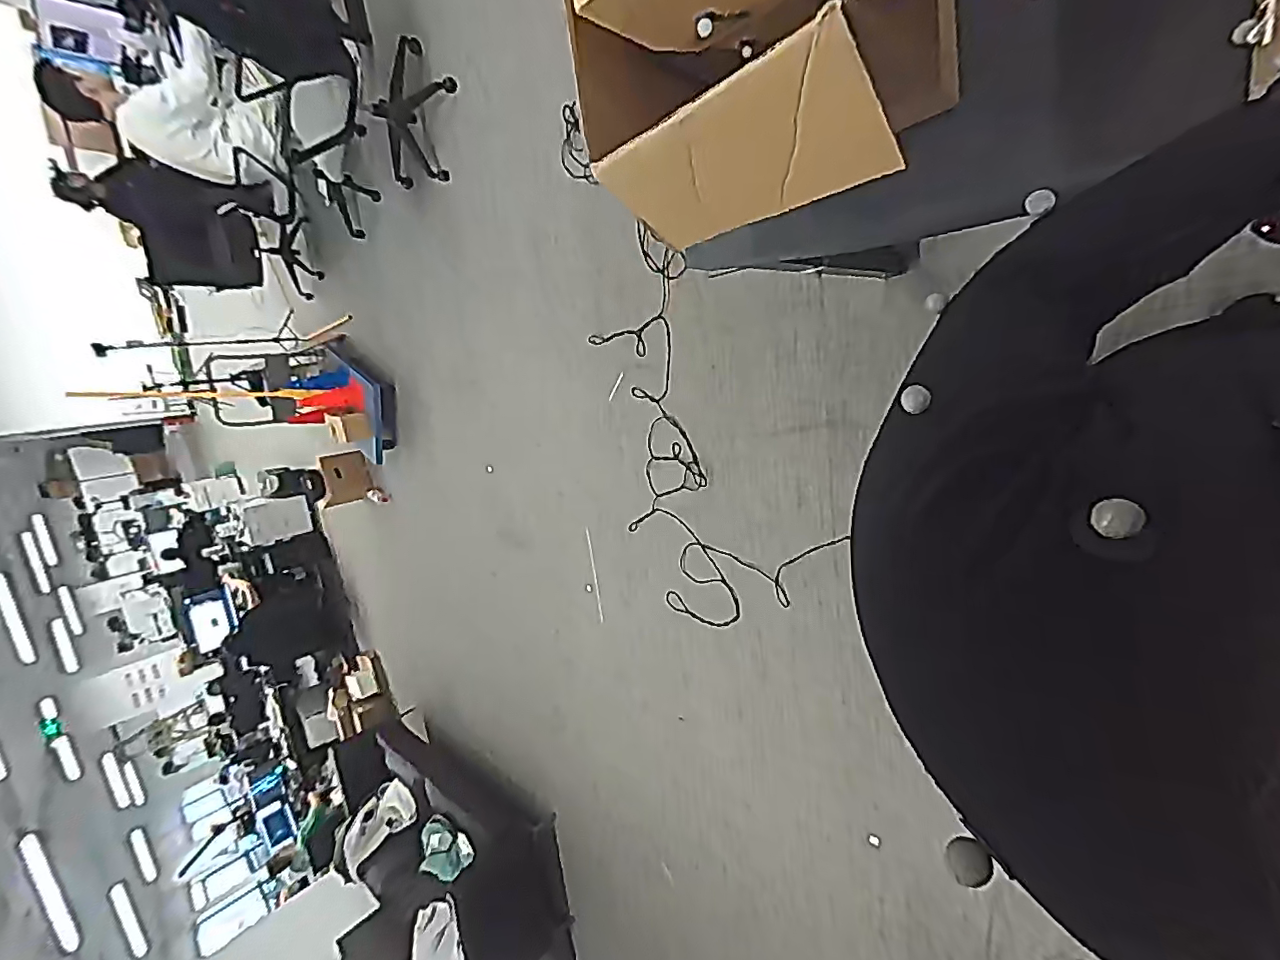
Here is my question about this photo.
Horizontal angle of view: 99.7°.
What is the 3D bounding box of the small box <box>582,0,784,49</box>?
[{"bbox_3d":[0.045,-0.565,0.516,0.168,0.176,0.179,7,111,43],"label":"small box"}]
